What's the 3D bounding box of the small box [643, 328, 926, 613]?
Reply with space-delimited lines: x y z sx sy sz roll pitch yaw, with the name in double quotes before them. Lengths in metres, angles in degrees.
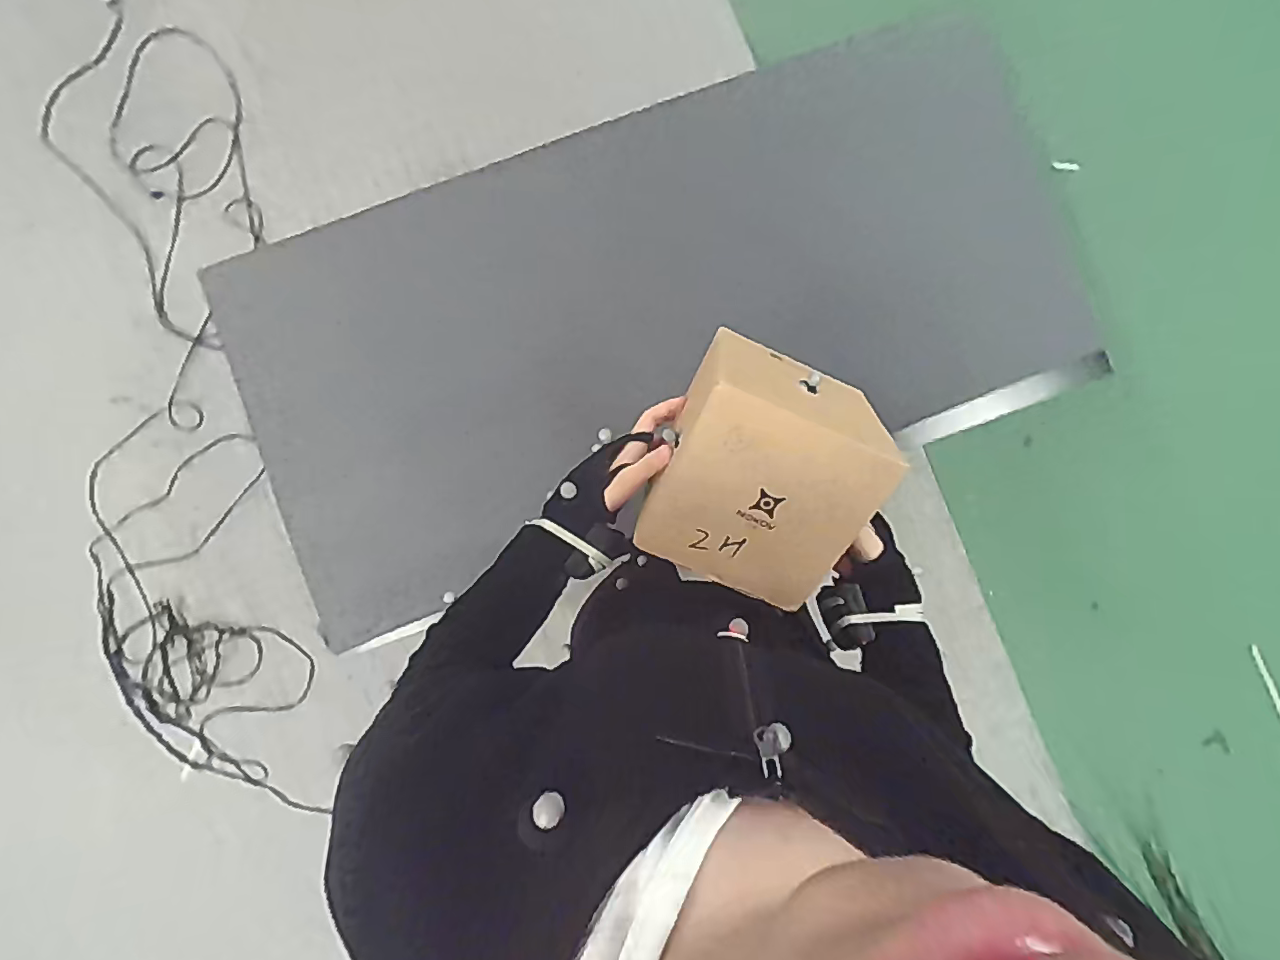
"small box" 0.116 -0.019 0.503 0.168 0.176 0.179 24 119 -5
